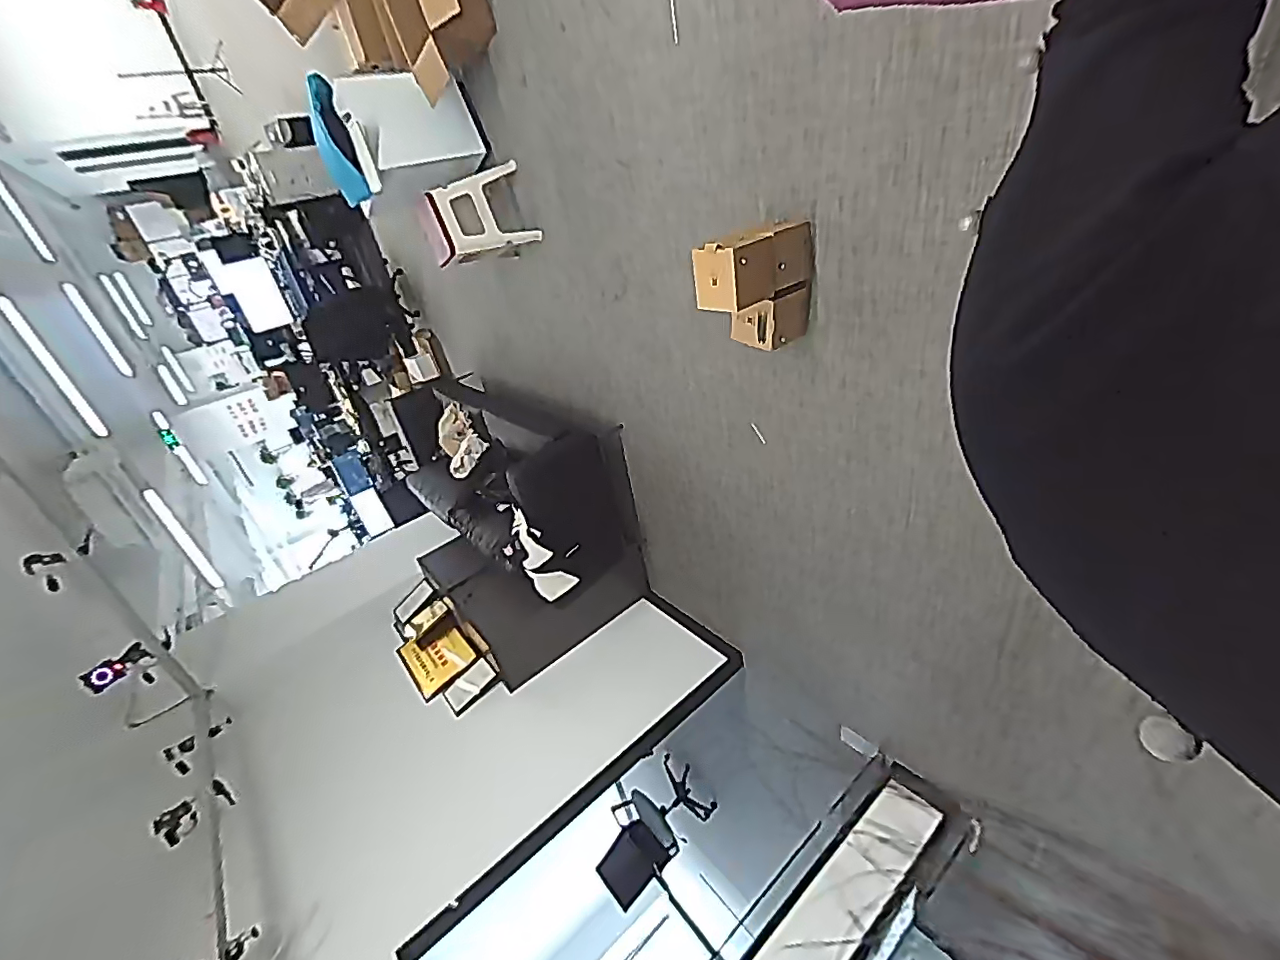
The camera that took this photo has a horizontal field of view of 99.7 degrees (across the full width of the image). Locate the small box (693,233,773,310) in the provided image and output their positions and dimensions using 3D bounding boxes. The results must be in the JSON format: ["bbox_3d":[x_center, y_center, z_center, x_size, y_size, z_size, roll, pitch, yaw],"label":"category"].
[{"bbox_3d":[0.279,-0.620,1.599,0.168,0.176,0.179,26,135,46],"label":"small box"}]
